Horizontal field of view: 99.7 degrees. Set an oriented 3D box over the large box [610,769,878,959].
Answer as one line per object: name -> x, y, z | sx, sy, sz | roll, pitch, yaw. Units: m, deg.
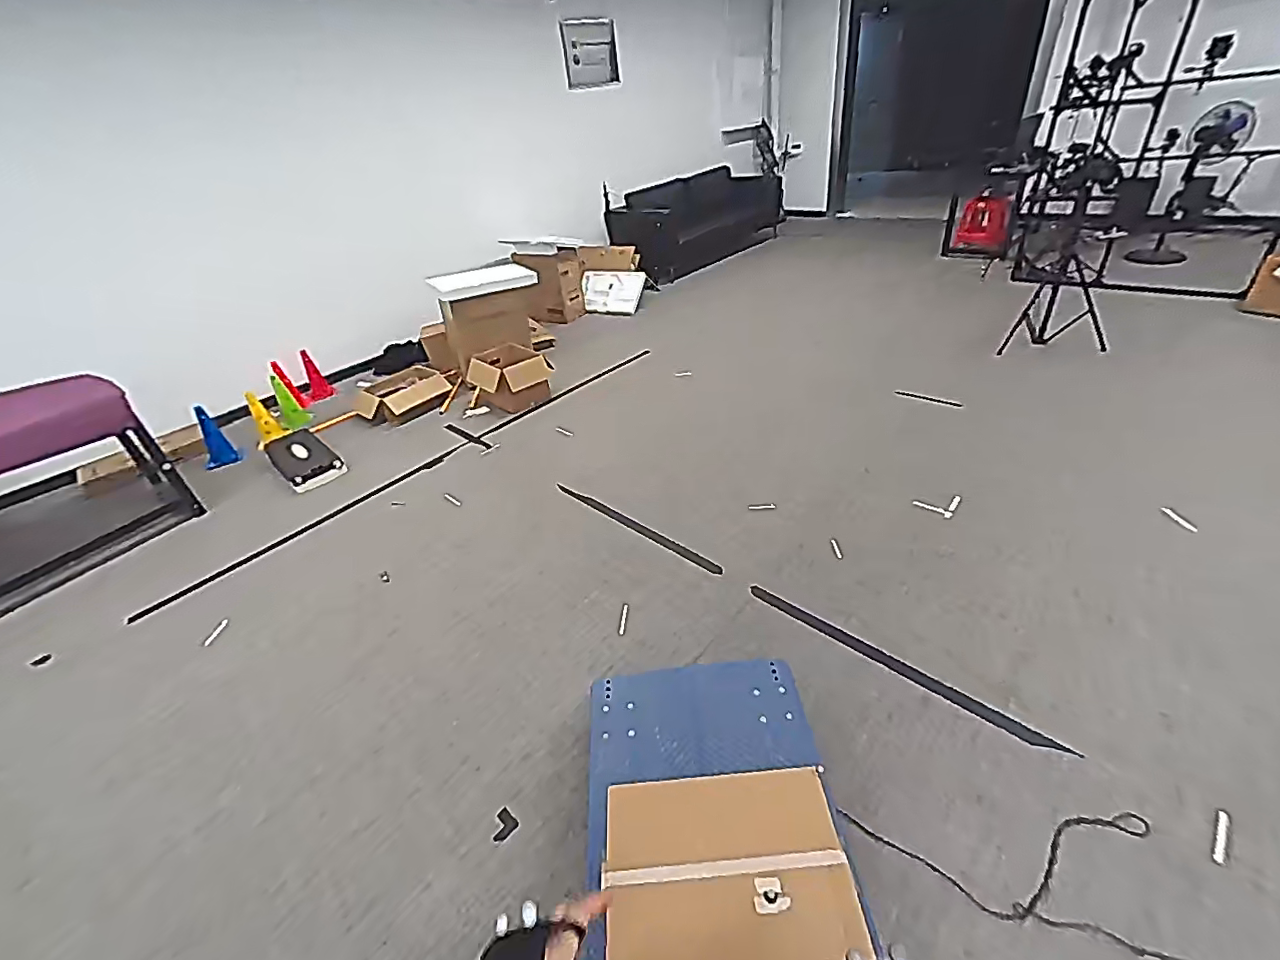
large box -> 0.161, 0.784, 0.995 | 0.408, 0.320, 0.320 | -6, 35, 1
